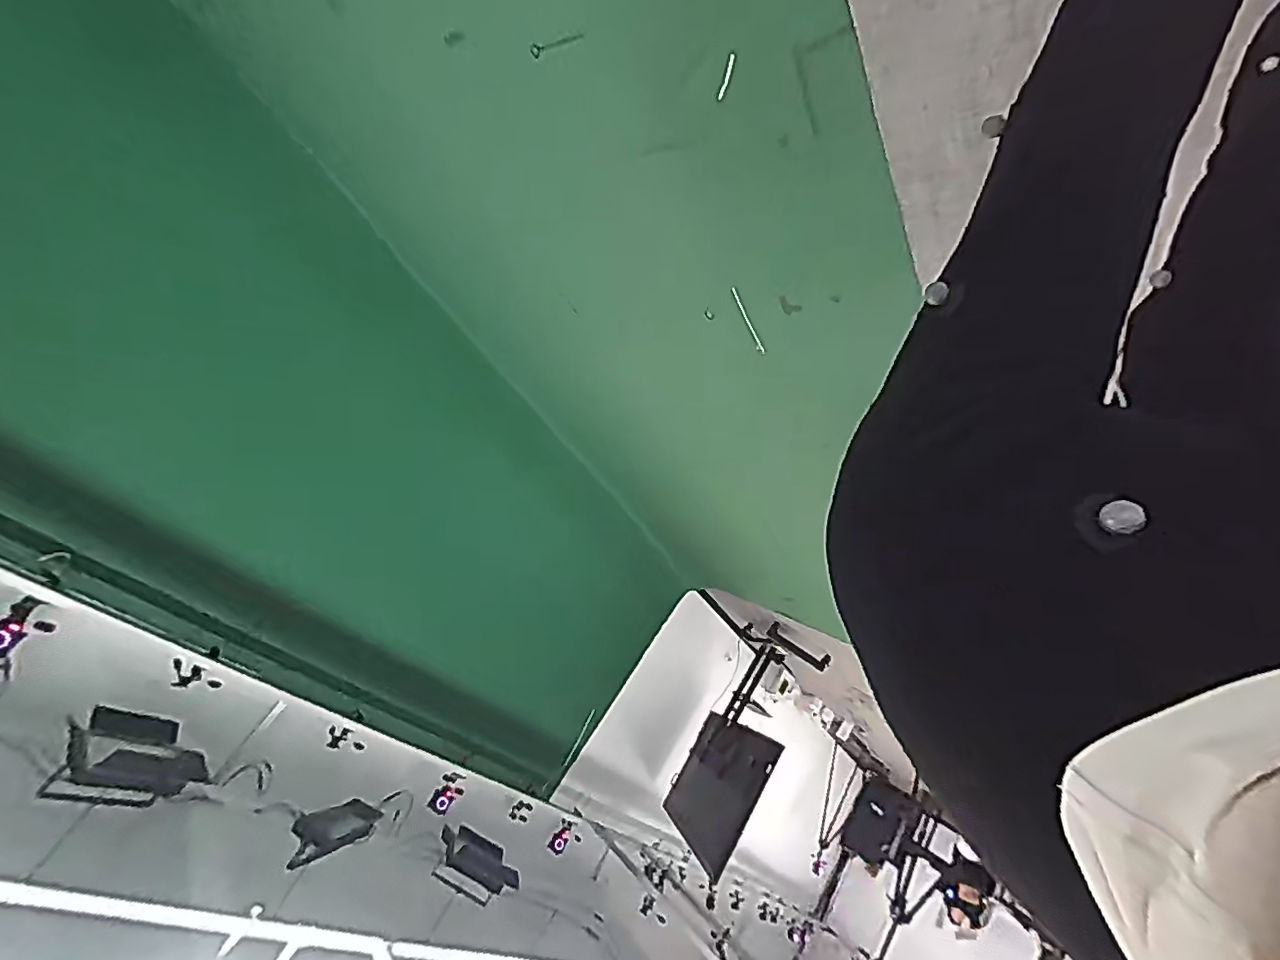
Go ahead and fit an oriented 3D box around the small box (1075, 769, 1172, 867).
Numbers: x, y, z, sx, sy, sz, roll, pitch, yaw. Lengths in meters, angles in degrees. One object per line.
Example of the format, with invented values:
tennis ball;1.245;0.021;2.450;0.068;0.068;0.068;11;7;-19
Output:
small box;1.376;0.931;1.525;0.179;0.176;0.168;44;160;-22

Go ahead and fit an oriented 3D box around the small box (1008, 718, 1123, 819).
small box;1.189;0.793;1.511;0.168;0.176;0.179;37;161;-4
